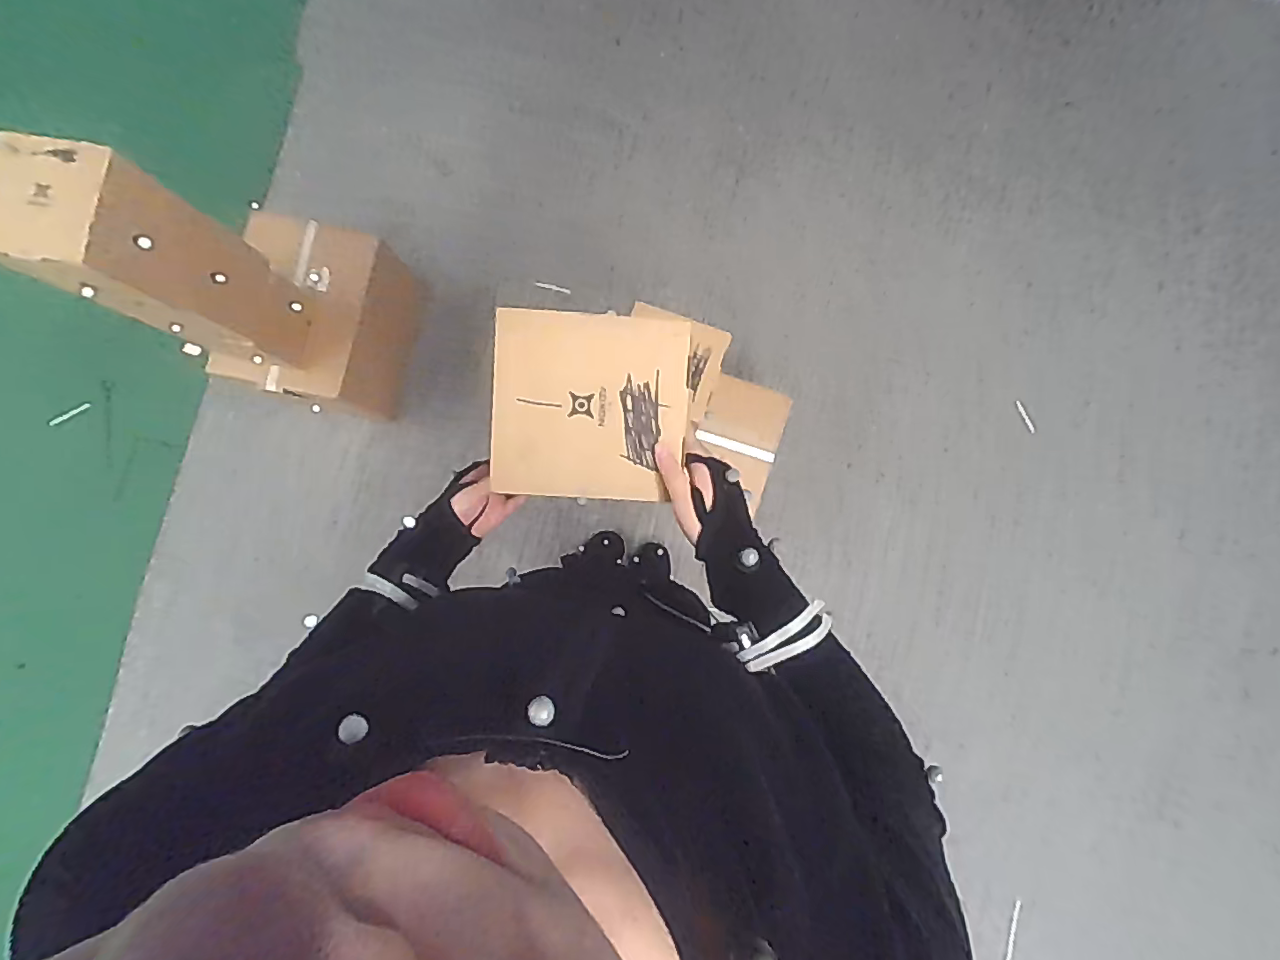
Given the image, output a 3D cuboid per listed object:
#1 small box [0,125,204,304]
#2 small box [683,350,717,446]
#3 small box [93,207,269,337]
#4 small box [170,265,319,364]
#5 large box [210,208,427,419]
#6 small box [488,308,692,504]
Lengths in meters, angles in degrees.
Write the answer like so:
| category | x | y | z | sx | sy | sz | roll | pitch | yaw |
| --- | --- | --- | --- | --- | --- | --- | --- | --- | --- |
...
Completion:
| category | x | y | z | sx | sy | sz | roll | pitch | yaw |
| --- | --- | --- | --- | --- | --- | --- | --- | --- | --- |
| small box | -0.815 | -0.388 | 0.821 | 0.168 | 0.176 | 0.179 | 9 | 86 | 0 |
| small box | 0.049 | -0.178 | 1.150 | 0.168 | 0.176 | 0.179 | 19 | 84 | 0 |
| small box | -0.820 | -0.377 | 0.985 | 0.168 | 0.176 | 0.179 | 7 | 85 | -1 |
| small box | -0.824 | -0.357 | 1.148 | 0.179 | 0.176 | 0.168 | 11 | 85 | 1 |
| large box | -0.796 | -0.403 | 1.396 | 0.320 | 0.320 | 0.408 | 12 | 85 | 0 |
| small box | -0.050 | -0.071 | 0.564 | 0.179 | 0.176 | 0.168 | 3 | 94 | -3 |
